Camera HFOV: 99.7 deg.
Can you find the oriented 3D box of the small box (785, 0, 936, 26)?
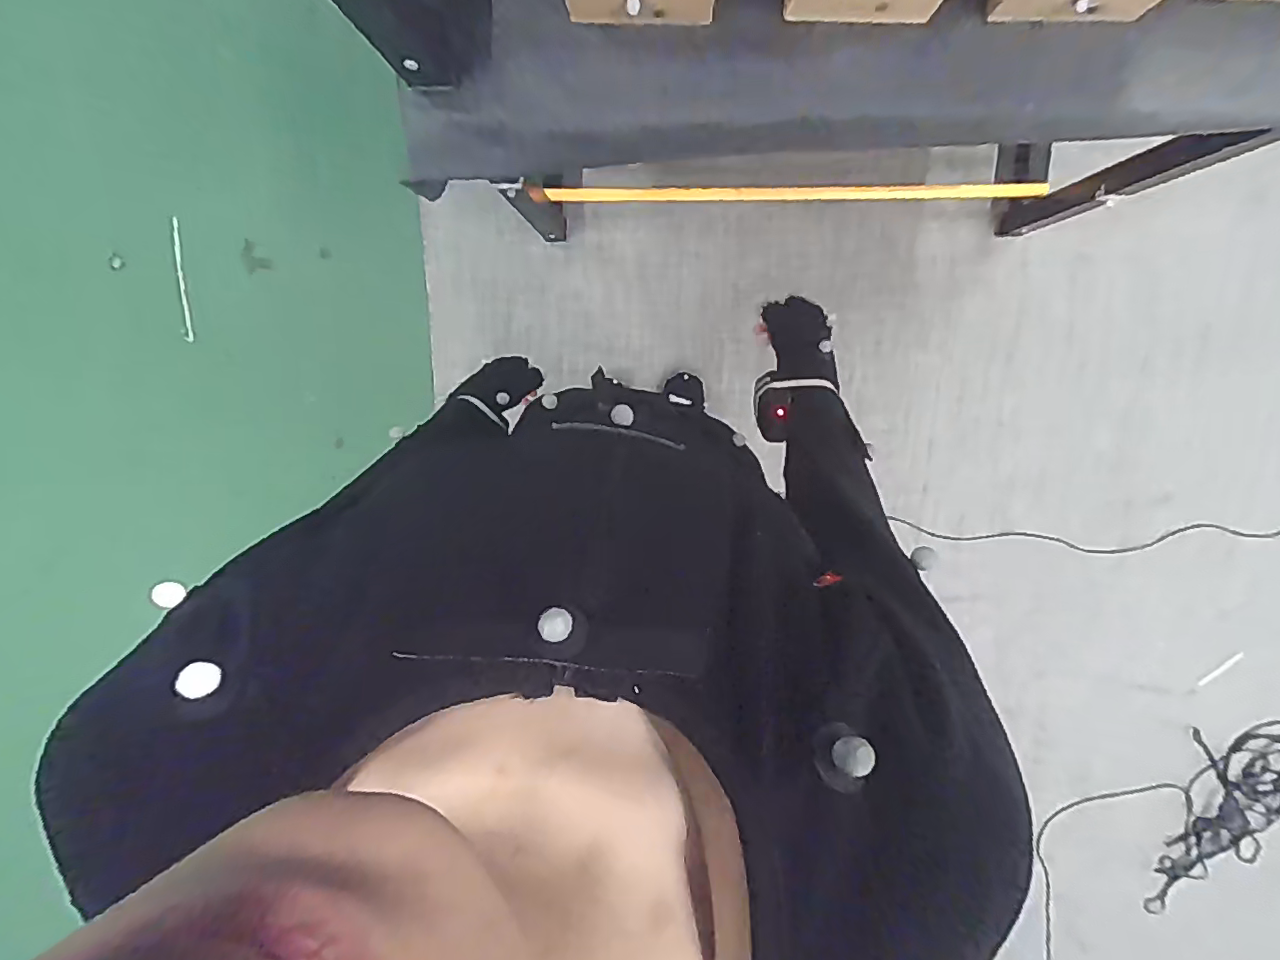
[{"bbox_3d":[0.244,-0.592,0.531,0.168,0.176,0.179,3,101,2],"label":"small box"}]

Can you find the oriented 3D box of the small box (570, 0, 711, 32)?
[{"bbox_3d":[-0.001,-0.599,0.539,0.168,0.176,0.179,2,102,2],"label":"small box"}]
